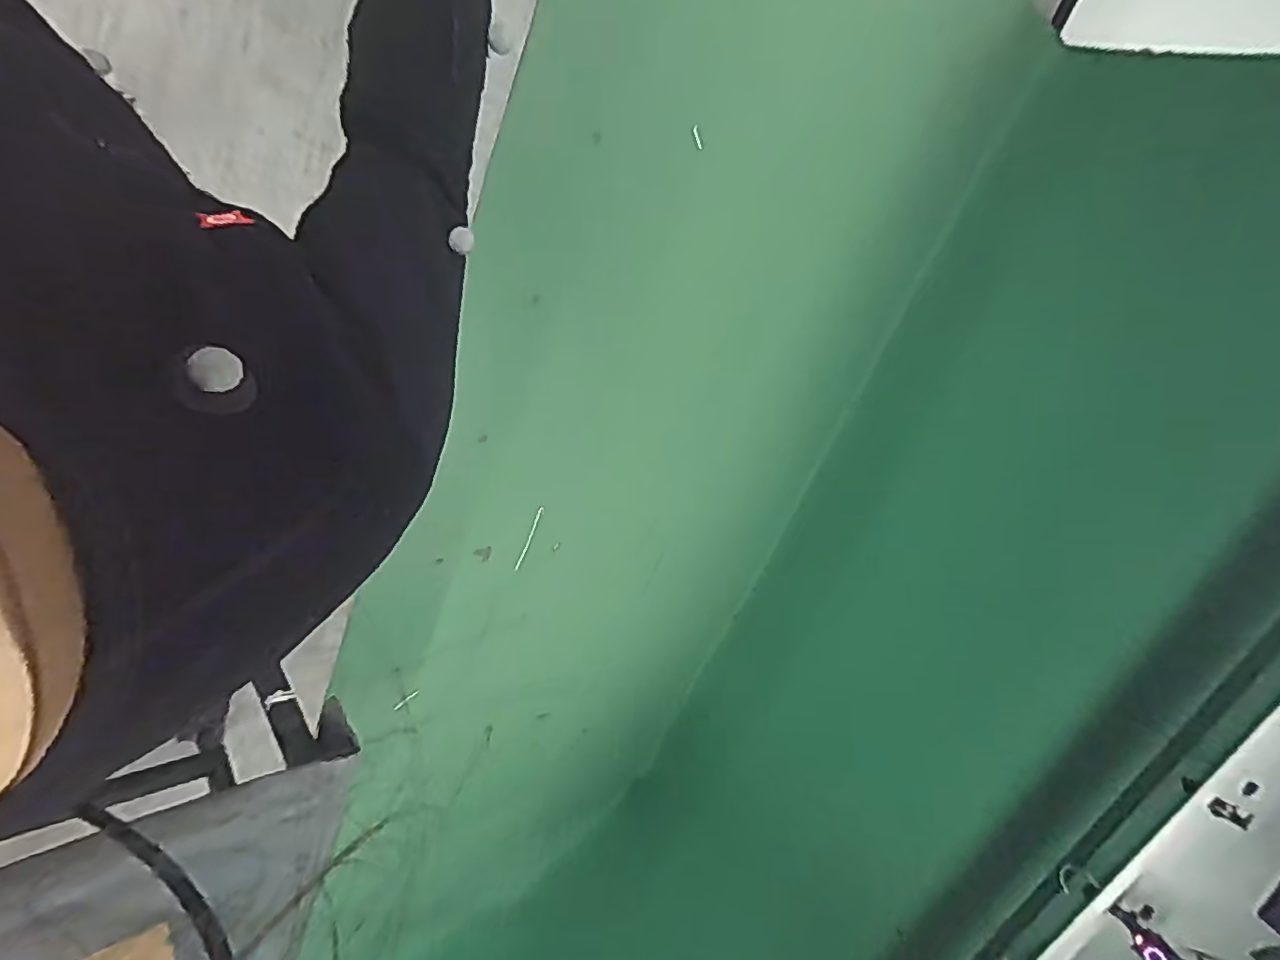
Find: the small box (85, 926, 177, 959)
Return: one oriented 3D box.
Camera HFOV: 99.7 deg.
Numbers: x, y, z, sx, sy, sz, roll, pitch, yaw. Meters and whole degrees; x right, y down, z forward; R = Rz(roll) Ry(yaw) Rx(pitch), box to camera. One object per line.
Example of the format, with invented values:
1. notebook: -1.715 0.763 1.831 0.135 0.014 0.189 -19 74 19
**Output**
1. small box: -0.868 0.897 0.882 0.168 0.176 0.179 2 117 -52
